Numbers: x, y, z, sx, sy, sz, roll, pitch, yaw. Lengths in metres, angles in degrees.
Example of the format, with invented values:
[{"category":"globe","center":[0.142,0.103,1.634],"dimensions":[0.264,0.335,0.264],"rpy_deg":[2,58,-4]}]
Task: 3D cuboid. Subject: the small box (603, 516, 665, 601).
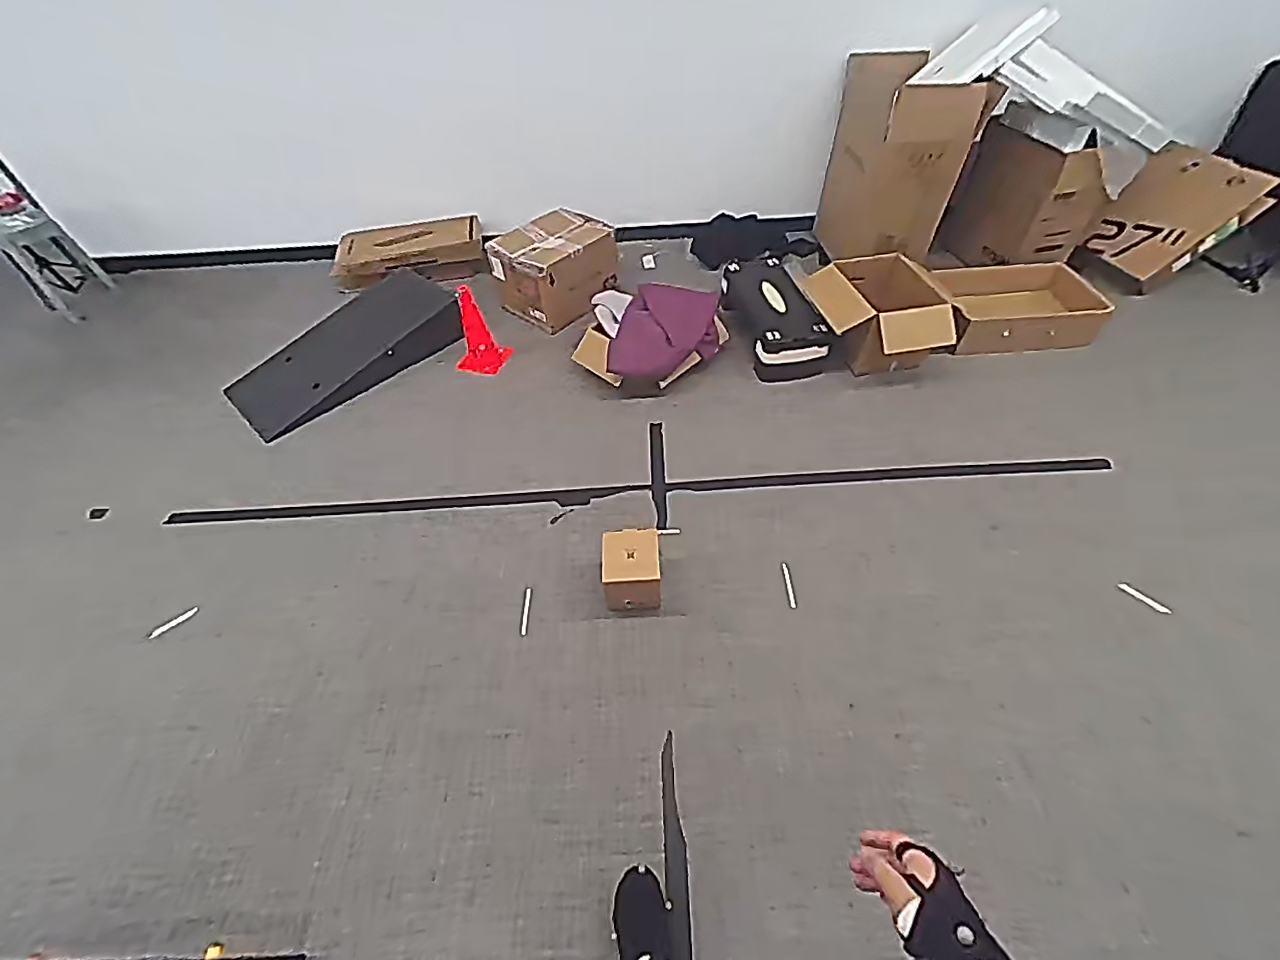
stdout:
[{"category":"small box","center":[-0.016,0.223,1.536],"dimensions":[0.168,0.176,0.179],"rpy_deg":[-5,50,0]}]
